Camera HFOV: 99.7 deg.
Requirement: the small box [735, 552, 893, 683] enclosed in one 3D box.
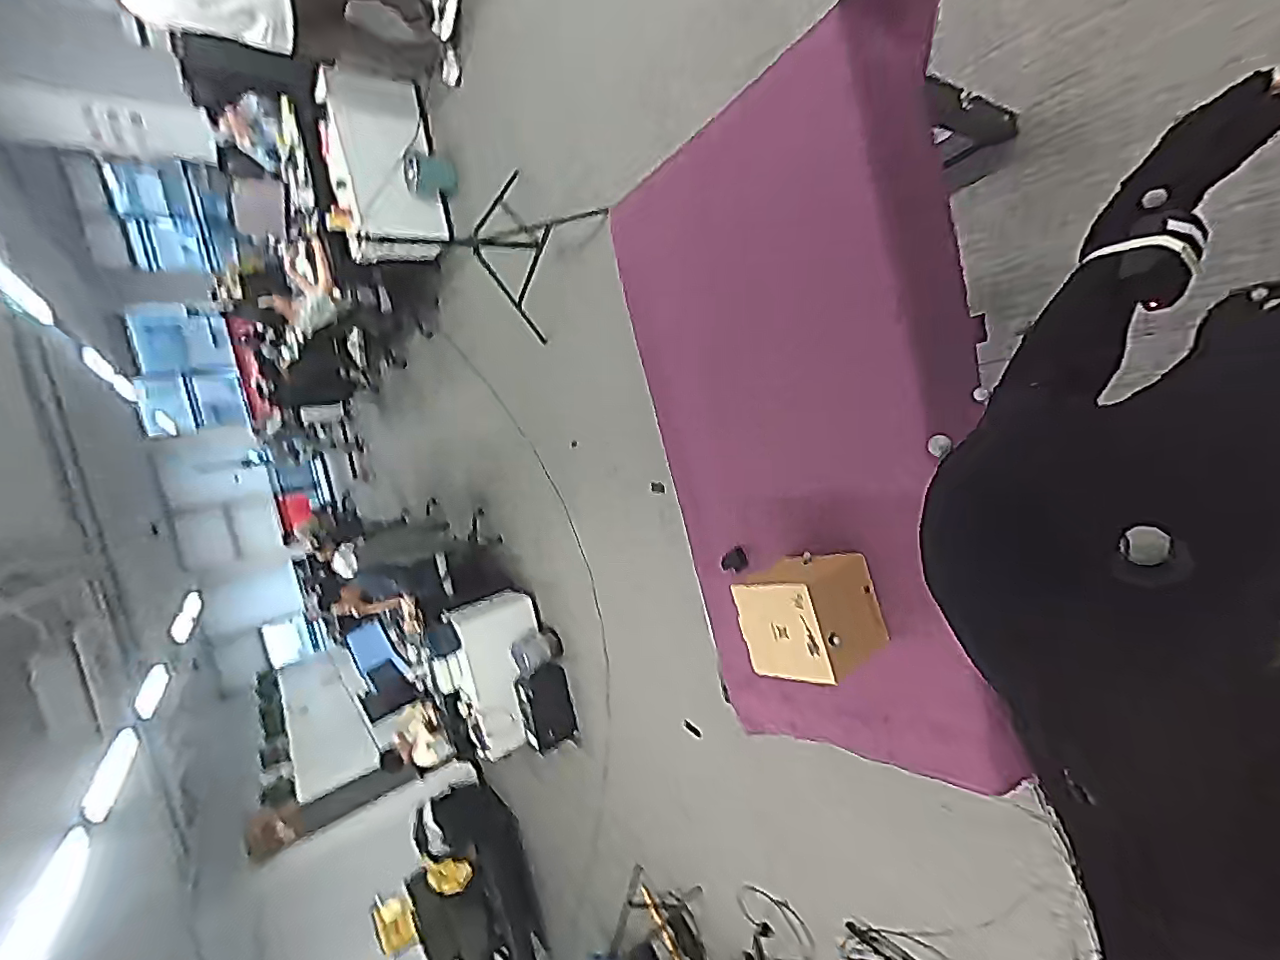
[{"bbox_3d":[0.303,0.231,0.947,0.179,0.176,0.168,-19,88,56],"label":"small box"}]
